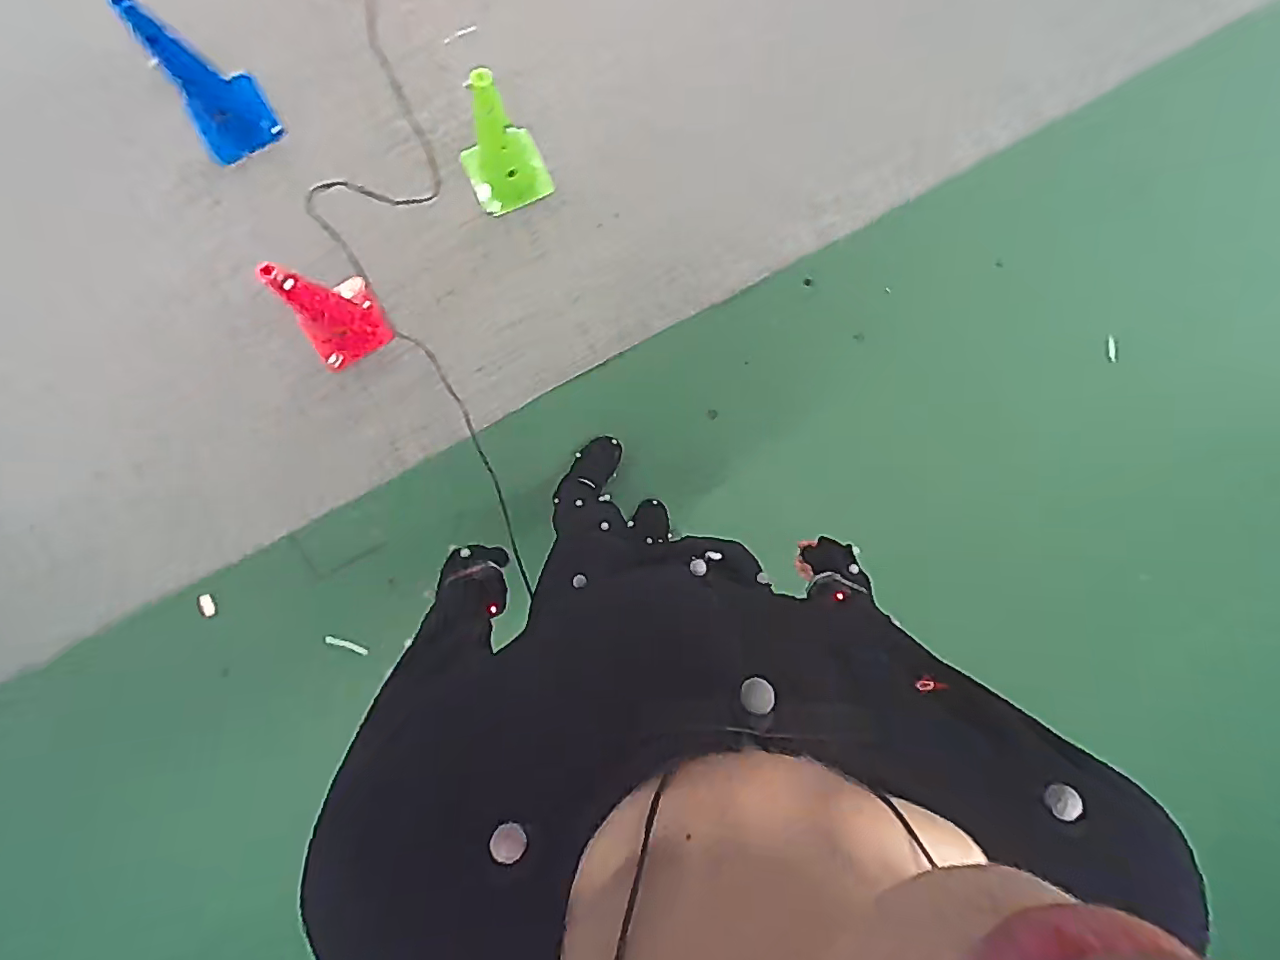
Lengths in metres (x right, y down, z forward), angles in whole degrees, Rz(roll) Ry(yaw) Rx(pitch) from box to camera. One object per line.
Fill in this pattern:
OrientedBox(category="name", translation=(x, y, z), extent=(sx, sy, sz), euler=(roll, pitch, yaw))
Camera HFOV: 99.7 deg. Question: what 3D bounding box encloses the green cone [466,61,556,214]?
OrientedBox(category="green cone", translation=(-0.345, -0.864, 1.329), extent=(0.200, 0.368, 0.202), euler=(-26, 90, -5))
